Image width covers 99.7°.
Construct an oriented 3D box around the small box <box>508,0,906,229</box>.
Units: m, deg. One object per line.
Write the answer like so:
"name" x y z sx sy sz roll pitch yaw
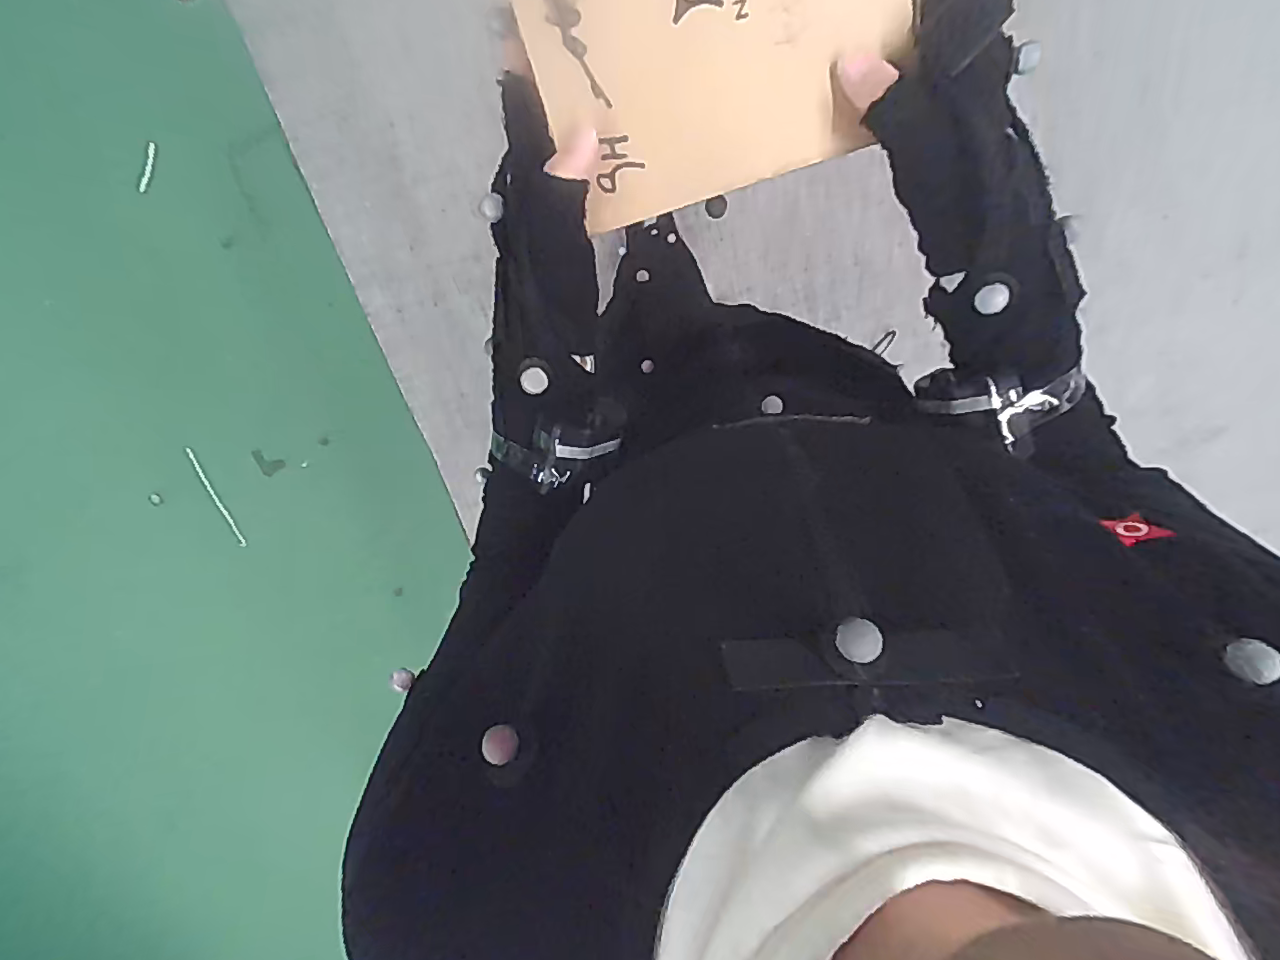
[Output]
"small box" 0.025 -0.258 0.312 0.179 0.176 0.168 -15 116 5
